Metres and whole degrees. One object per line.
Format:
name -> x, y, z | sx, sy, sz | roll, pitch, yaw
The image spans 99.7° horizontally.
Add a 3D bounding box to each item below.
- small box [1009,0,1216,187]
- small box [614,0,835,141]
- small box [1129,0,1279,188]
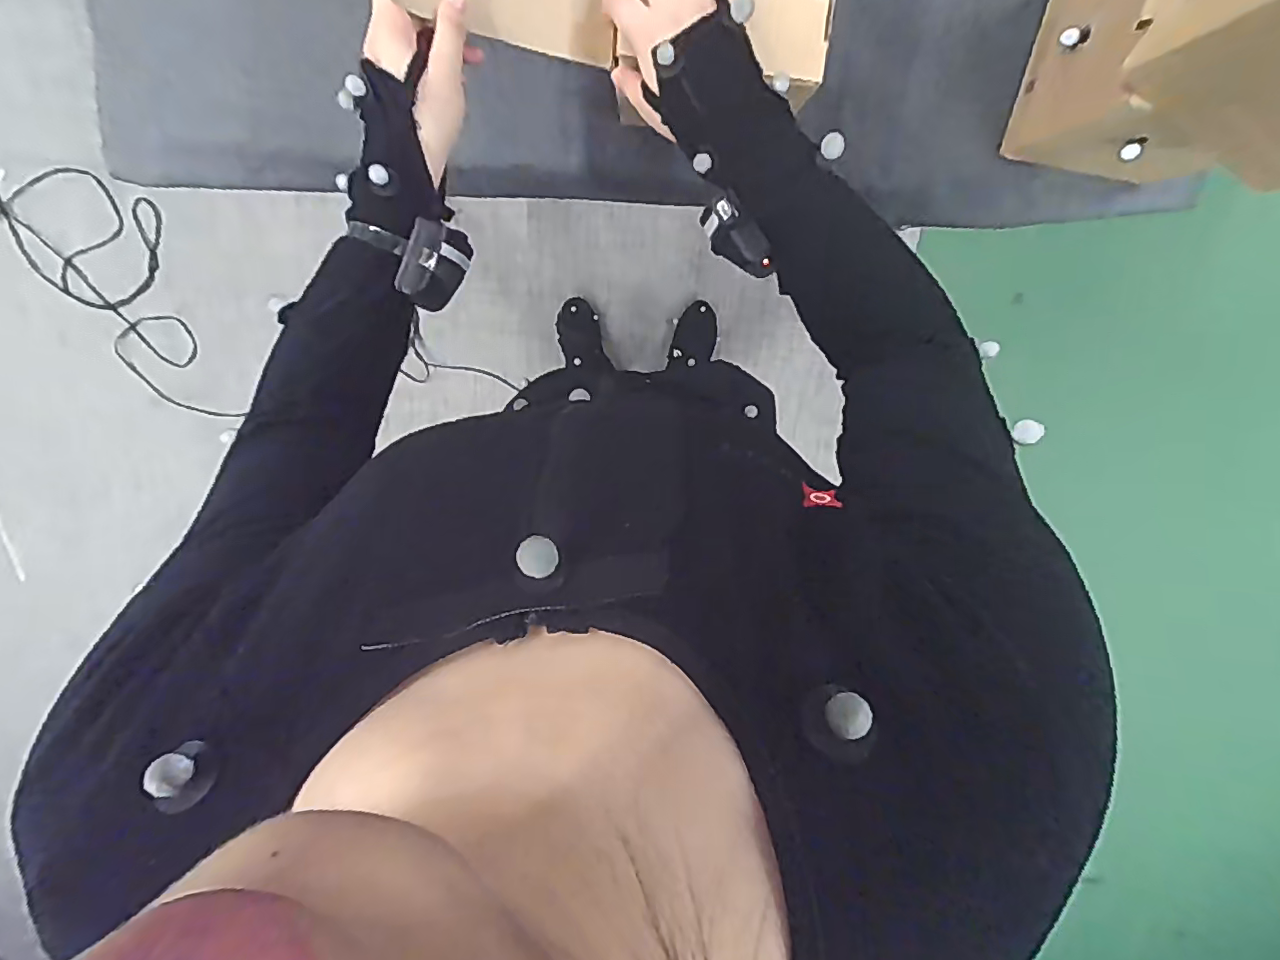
small box -> 0.498, -0.391, 0.506 | 0.179, 0.176, 0.168 | 9, 108, -2
small box -> 0.073, -0.429, 0.498 | 0.179, 0.176, 0.168 | 5, 110, 0
small box -> 0.499, -0.324, 0.356 | 0.179, 0.176, 0.168 | 29, 105, -10
